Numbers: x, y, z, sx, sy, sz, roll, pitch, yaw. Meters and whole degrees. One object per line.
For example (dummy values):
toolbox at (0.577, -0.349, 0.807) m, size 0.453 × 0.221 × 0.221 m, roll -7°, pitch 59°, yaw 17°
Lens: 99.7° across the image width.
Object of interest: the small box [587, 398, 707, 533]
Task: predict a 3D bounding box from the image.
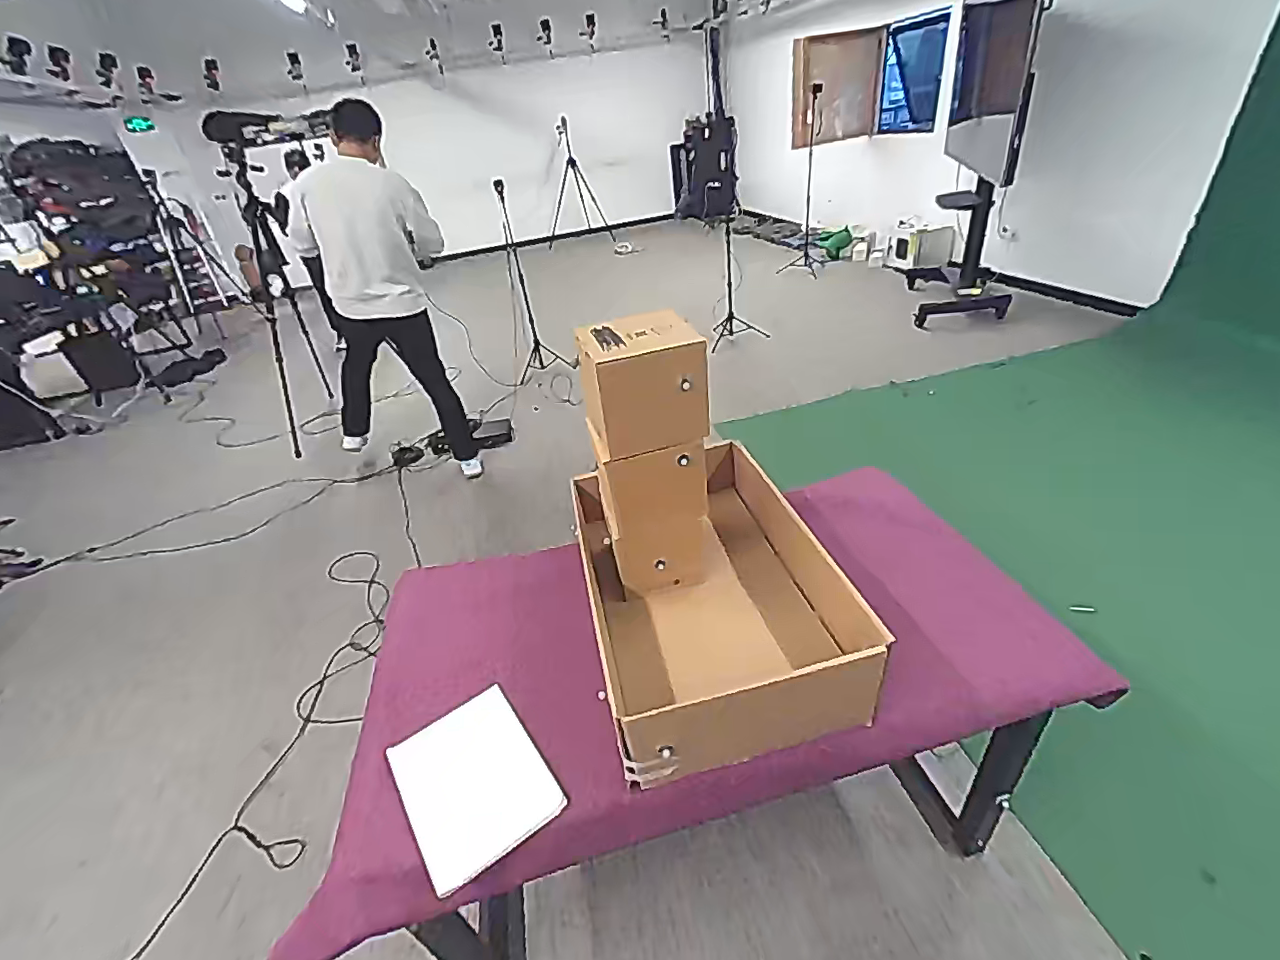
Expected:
small box at (0.013, -0.025, 0.986) m, size 0.179 × 0.176 × 0.168 m, roll -14°, pitch 36°, yaw -8°

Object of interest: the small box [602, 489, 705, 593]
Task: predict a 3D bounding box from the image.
small box at (0.027, 0.106, 1.080) m, size 0.168 × 0.176 × 0.179 m, roll -13°, pitch 36°, yaw -6°
